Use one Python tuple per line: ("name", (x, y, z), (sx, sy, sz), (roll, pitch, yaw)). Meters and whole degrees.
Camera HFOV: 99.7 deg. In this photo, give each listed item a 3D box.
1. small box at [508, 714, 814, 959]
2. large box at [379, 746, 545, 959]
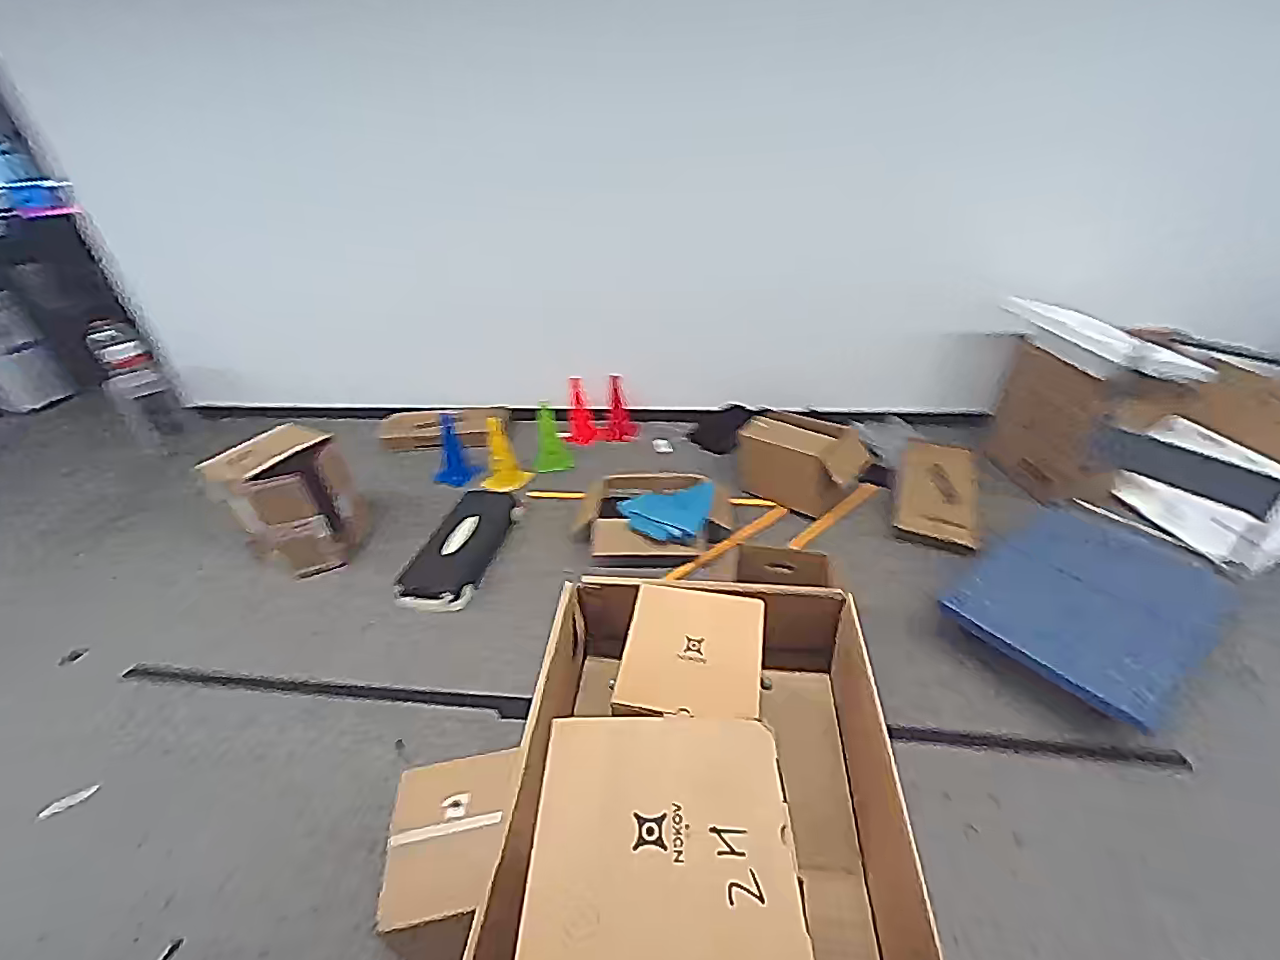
("small box", (0.016, 0.297, 0.405), (0.179, 0.176, 0.168), (-1, 37, 2))
("large box", (-0.311, 0.861, 1.236), (0.408, 0.320, 0.320), (-9, 33, -6))
